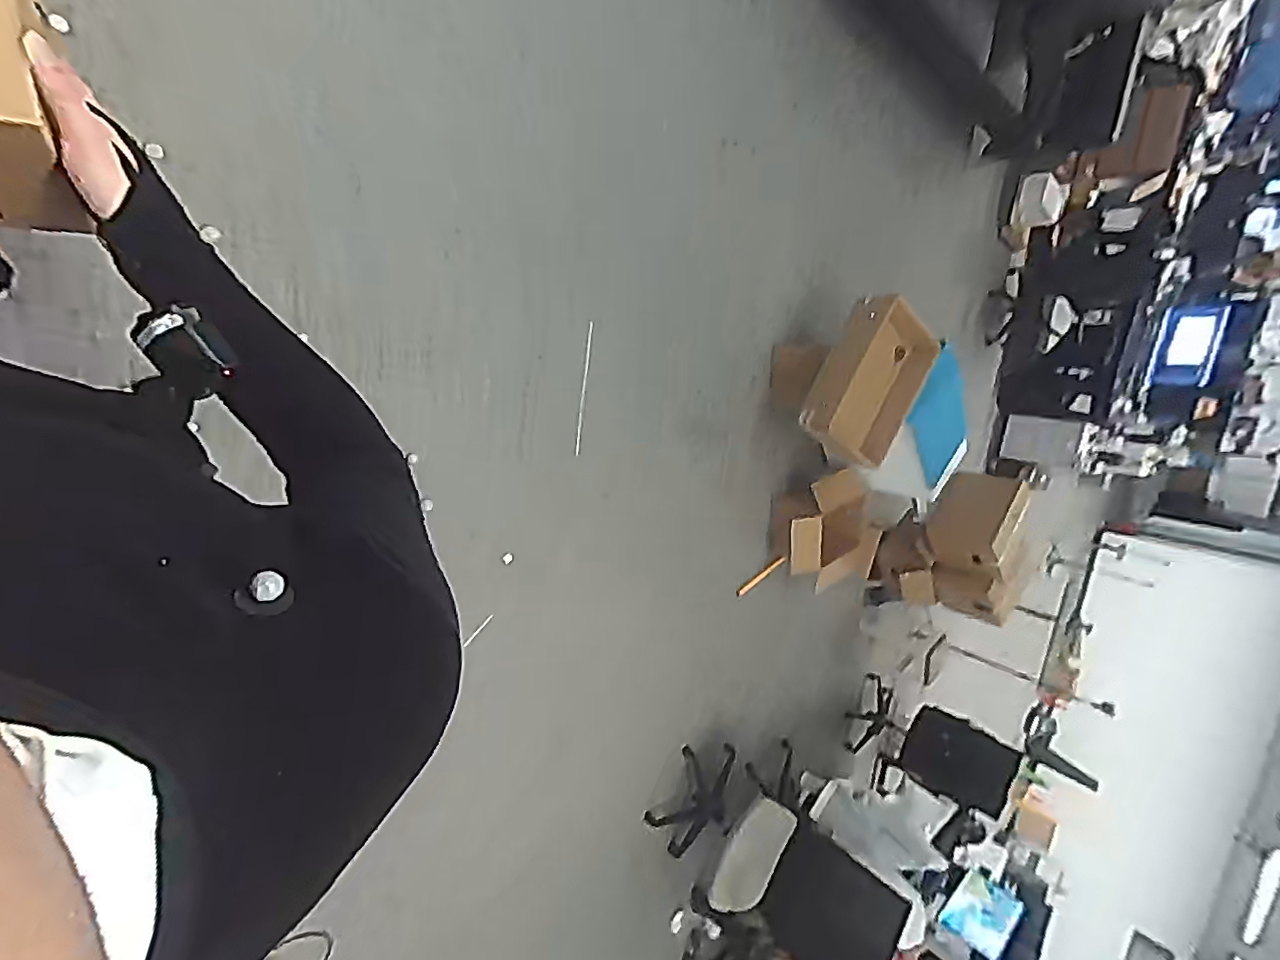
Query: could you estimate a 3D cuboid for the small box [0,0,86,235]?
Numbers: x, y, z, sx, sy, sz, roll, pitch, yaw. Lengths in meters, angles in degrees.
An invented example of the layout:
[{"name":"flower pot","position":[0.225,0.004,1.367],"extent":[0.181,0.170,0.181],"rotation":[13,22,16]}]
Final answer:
[{"name":"small box","position":[-0.528,-0.299,0.372],"extent":[0.168,0.176,0.179],"rotation":[-11,92,-36]}]
